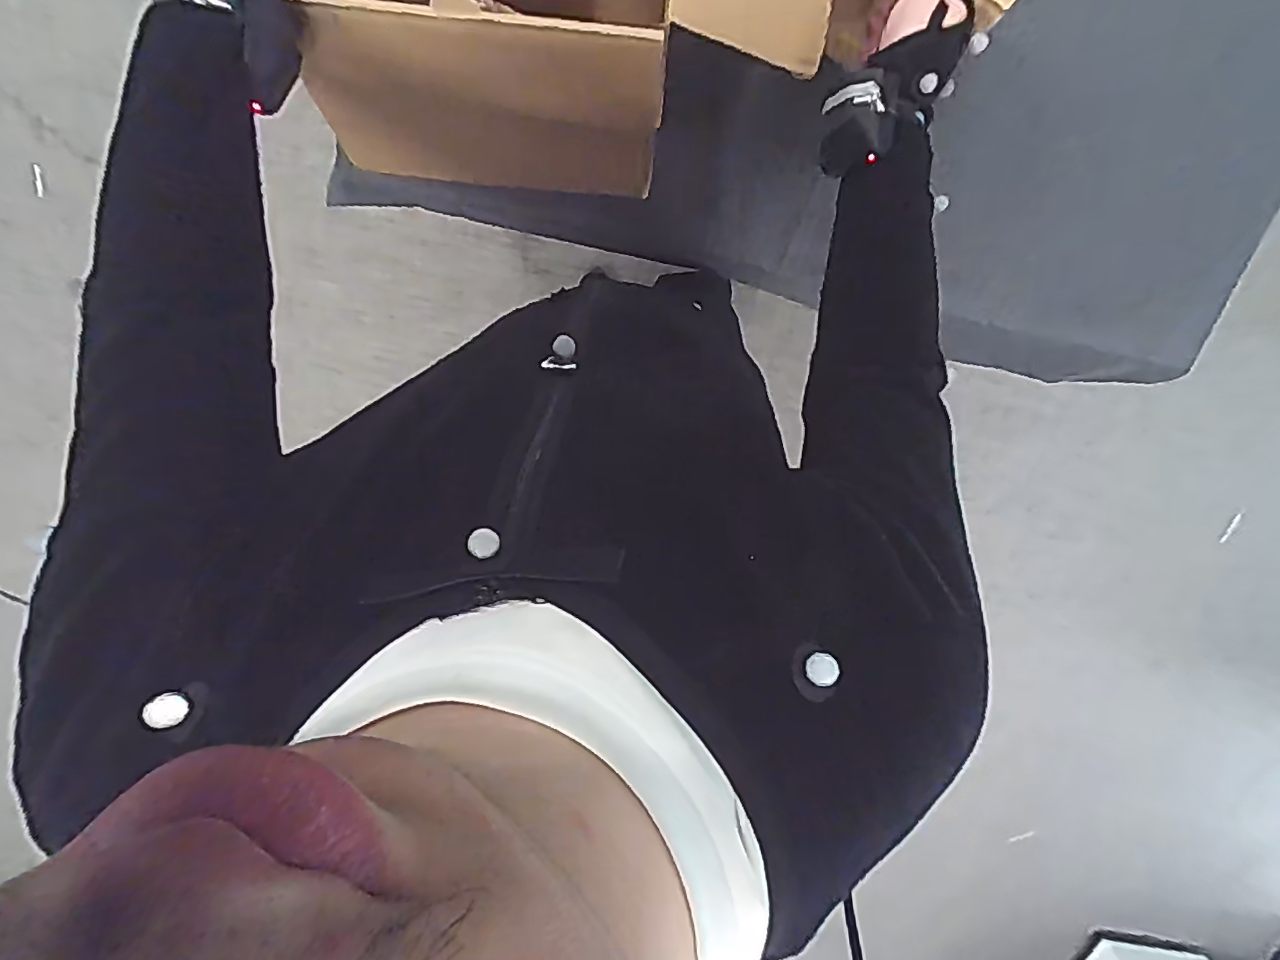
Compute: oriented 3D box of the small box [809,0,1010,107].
[{"bbox_3d":[0.286,-0.516,0.519,0.168,0.176,0.179,35,97,-6],"label":"small box"}]
